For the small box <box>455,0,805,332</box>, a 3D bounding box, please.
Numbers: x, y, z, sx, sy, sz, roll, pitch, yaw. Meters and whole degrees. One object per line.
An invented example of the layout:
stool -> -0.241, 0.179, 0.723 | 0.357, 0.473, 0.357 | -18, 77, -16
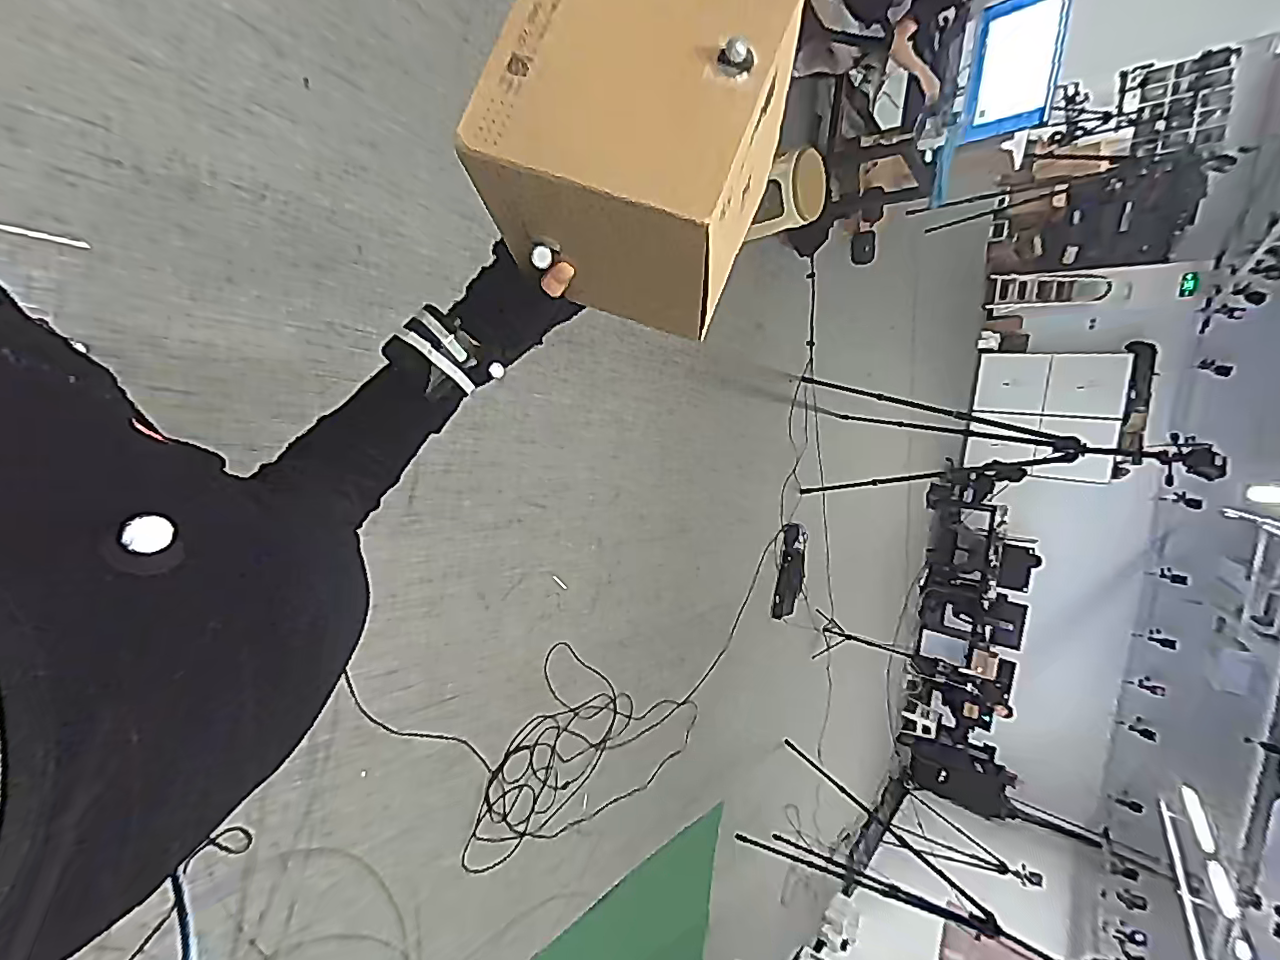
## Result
small box -> -0.005, -0.241, 0.399 | 0.179, 0.176, 0.168 | 65, 46, -83
